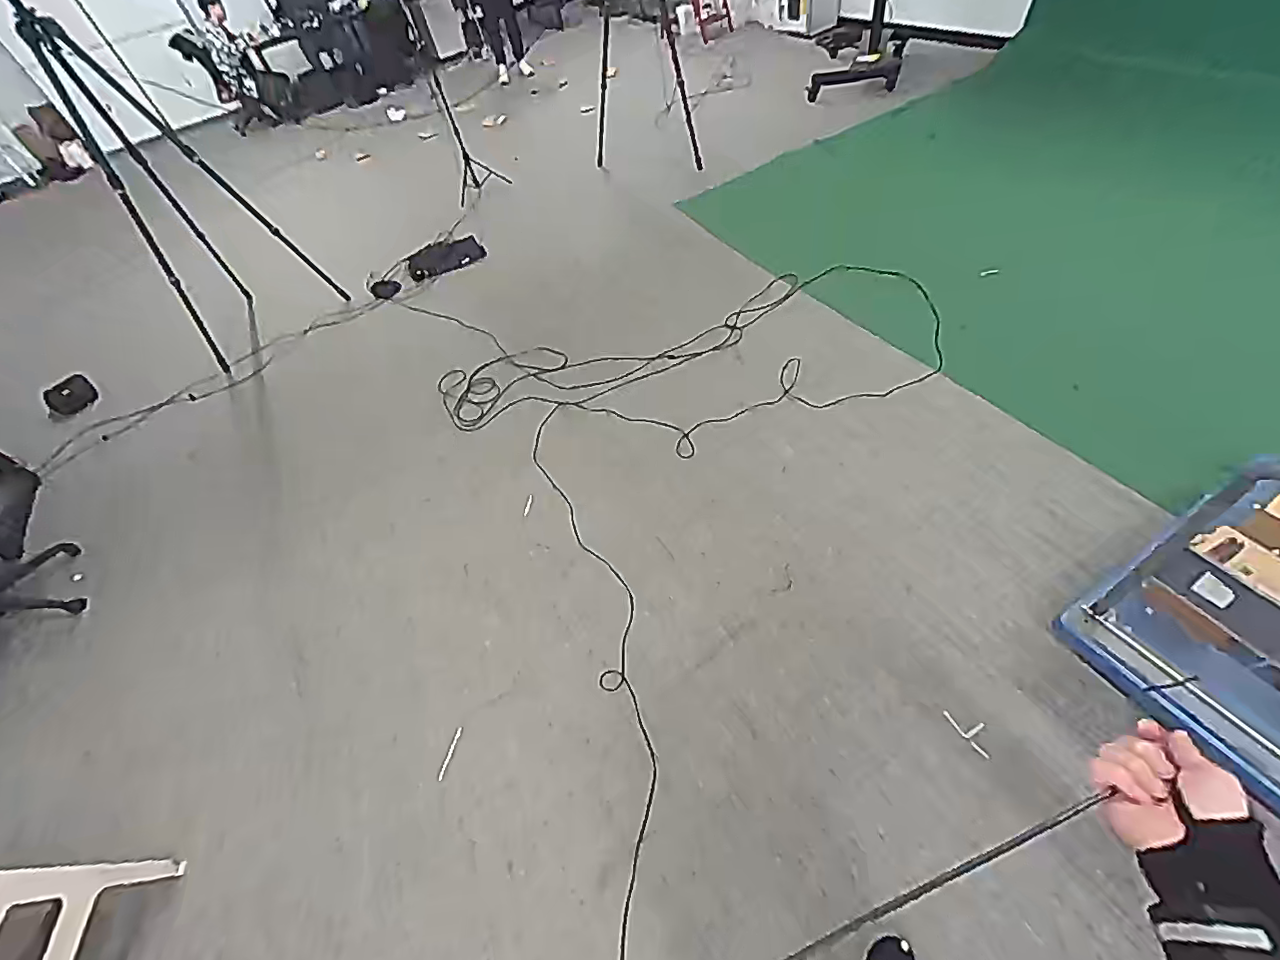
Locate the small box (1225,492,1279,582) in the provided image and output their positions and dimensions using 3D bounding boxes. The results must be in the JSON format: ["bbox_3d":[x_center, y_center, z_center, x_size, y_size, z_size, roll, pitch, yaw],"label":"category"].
[{"bbox_3d":[1.583,0.130,1.297,0.179,0.176,0.168,-33,53,-14],"label":"small box"}]
